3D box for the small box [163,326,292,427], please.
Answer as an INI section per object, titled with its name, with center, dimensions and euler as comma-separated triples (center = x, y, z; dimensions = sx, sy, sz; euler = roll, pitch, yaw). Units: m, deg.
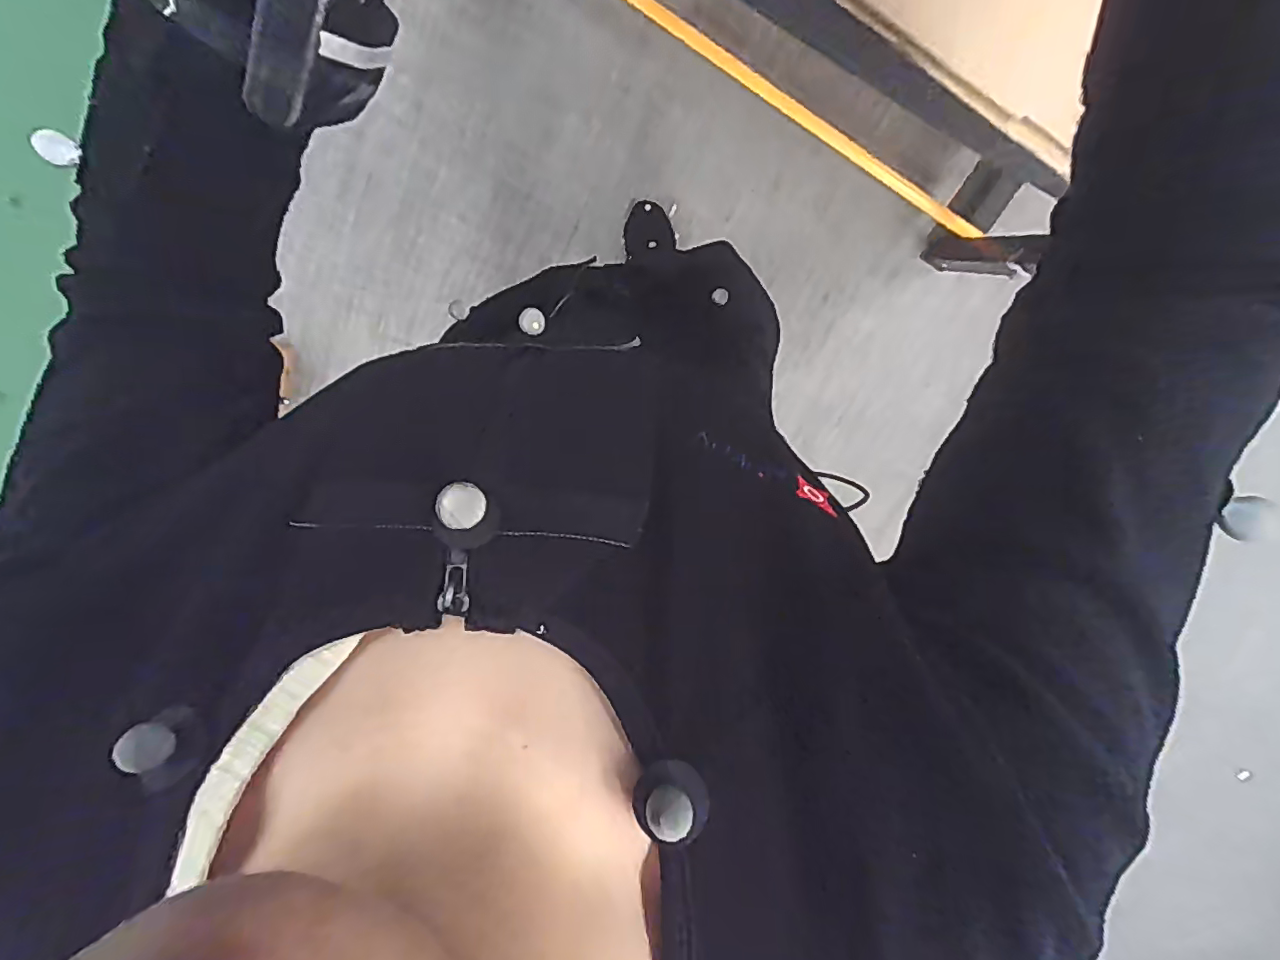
[small box]
center = -0.936, -0.244, 1.241
dimensions = 0.179, 0.176, 0.168
euler = 18, 112, -6
